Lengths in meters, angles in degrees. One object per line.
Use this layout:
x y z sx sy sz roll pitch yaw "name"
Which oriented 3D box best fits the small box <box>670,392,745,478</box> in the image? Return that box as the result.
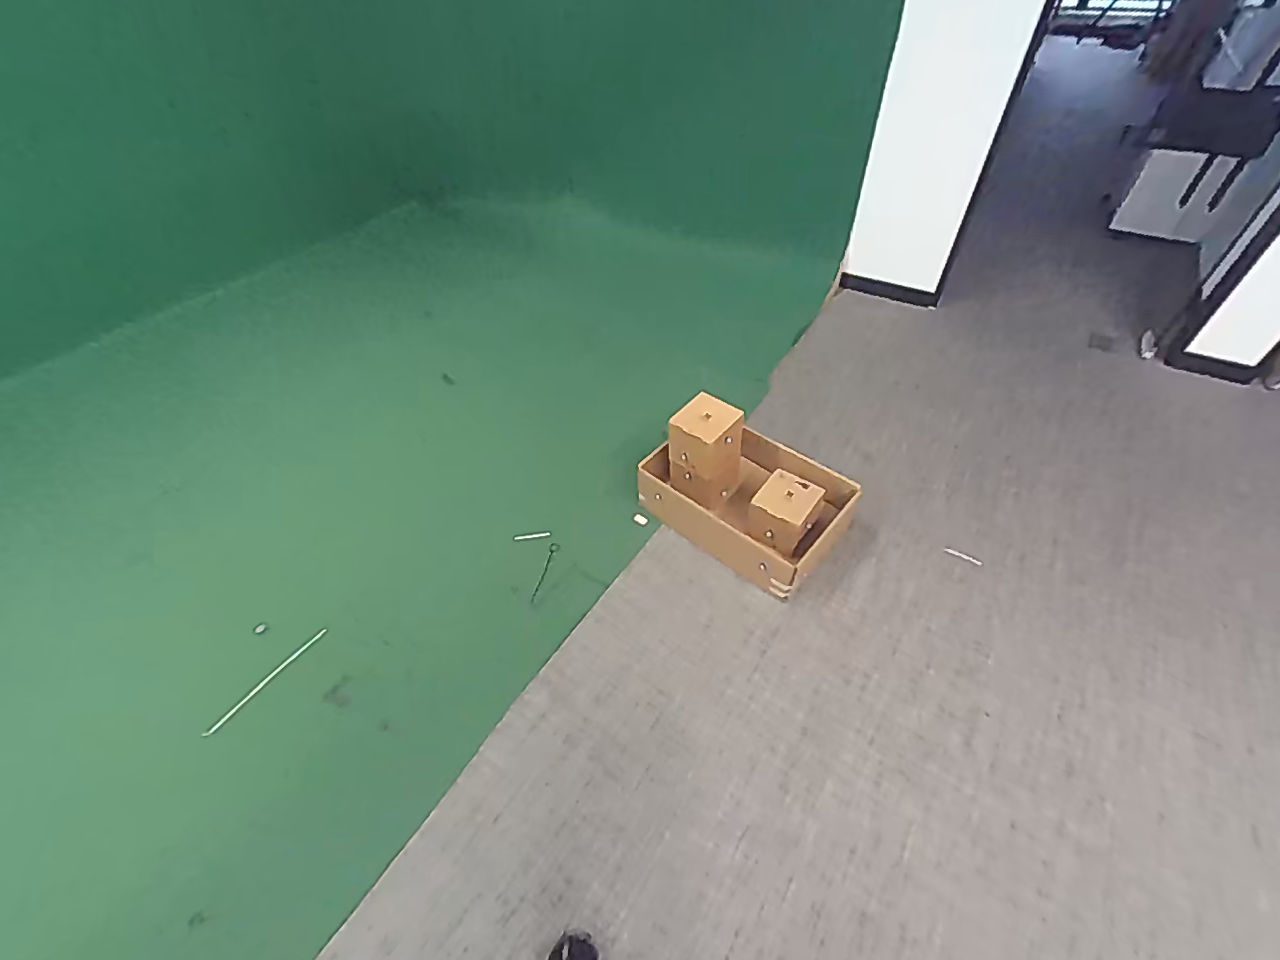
0.209 -0.141 1.717 0.168 0.176 0.179 33 59 28 "small box"
